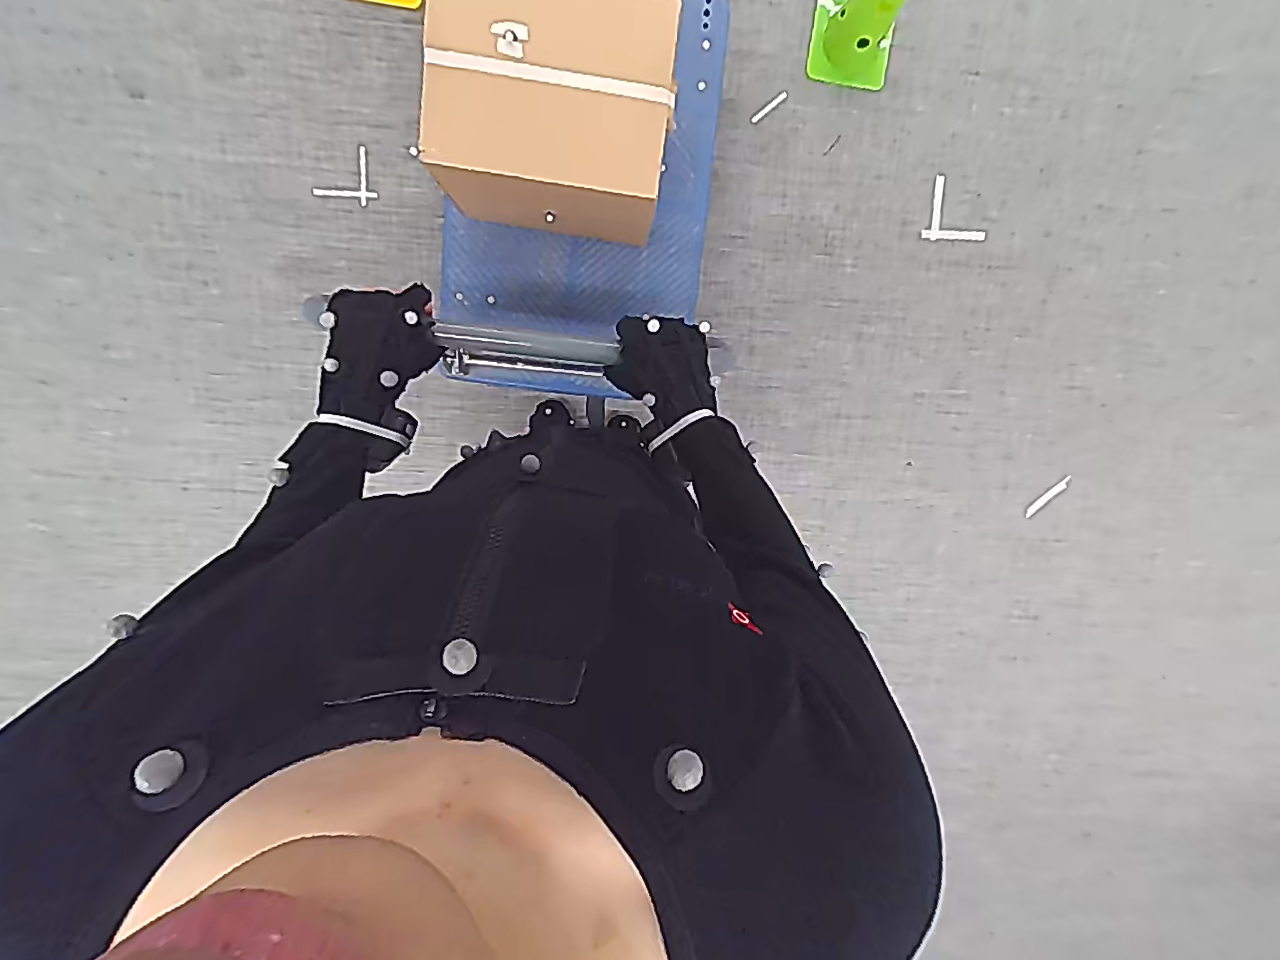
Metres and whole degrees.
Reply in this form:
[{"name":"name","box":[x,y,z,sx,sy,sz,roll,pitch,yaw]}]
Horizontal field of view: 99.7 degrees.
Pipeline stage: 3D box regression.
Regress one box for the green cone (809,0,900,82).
[{"name":"green cone","box":[0.535,-1.074,1.162,0.202,0.368,0.200,7,99,-5]}]

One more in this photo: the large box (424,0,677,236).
[{"name":"large box","box":[-0.156,-0.691,1.044,0.408,0.320,0.320,7,99,-3]}]
